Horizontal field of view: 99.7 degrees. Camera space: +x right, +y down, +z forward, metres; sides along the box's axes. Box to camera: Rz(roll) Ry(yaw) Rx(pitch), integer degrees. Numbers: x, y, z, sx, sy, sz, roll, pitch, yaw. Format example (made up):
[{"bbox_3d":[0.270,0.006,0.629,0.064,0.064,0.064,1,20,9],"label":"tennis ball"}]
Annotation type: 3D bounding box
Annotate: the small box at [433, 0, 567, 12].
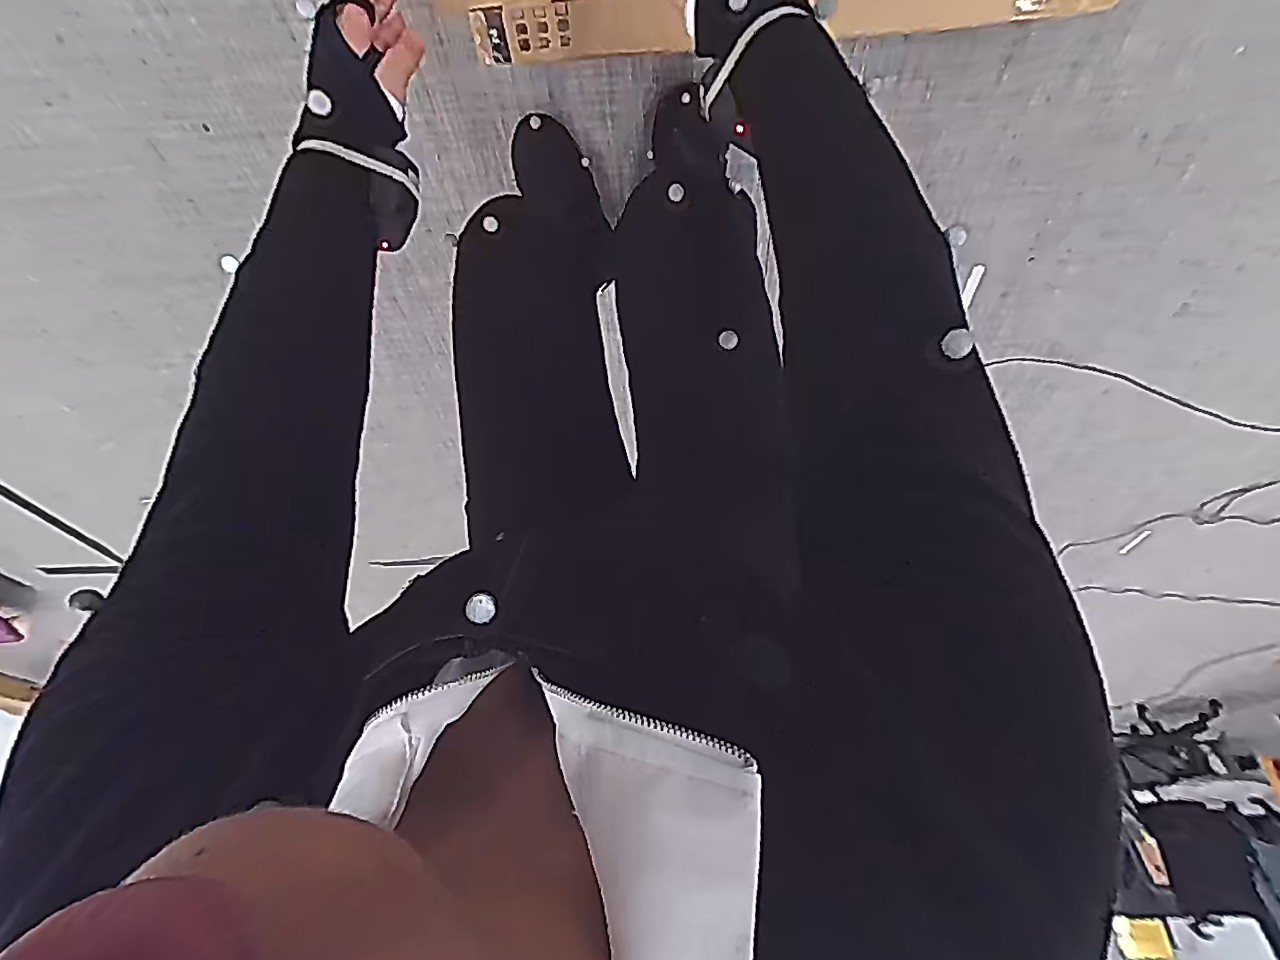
[{"bbox_3d":[-0.108,-0.540,0.464,0.168,0.176,0.179,-3,142,4],"label":"small box"}]
